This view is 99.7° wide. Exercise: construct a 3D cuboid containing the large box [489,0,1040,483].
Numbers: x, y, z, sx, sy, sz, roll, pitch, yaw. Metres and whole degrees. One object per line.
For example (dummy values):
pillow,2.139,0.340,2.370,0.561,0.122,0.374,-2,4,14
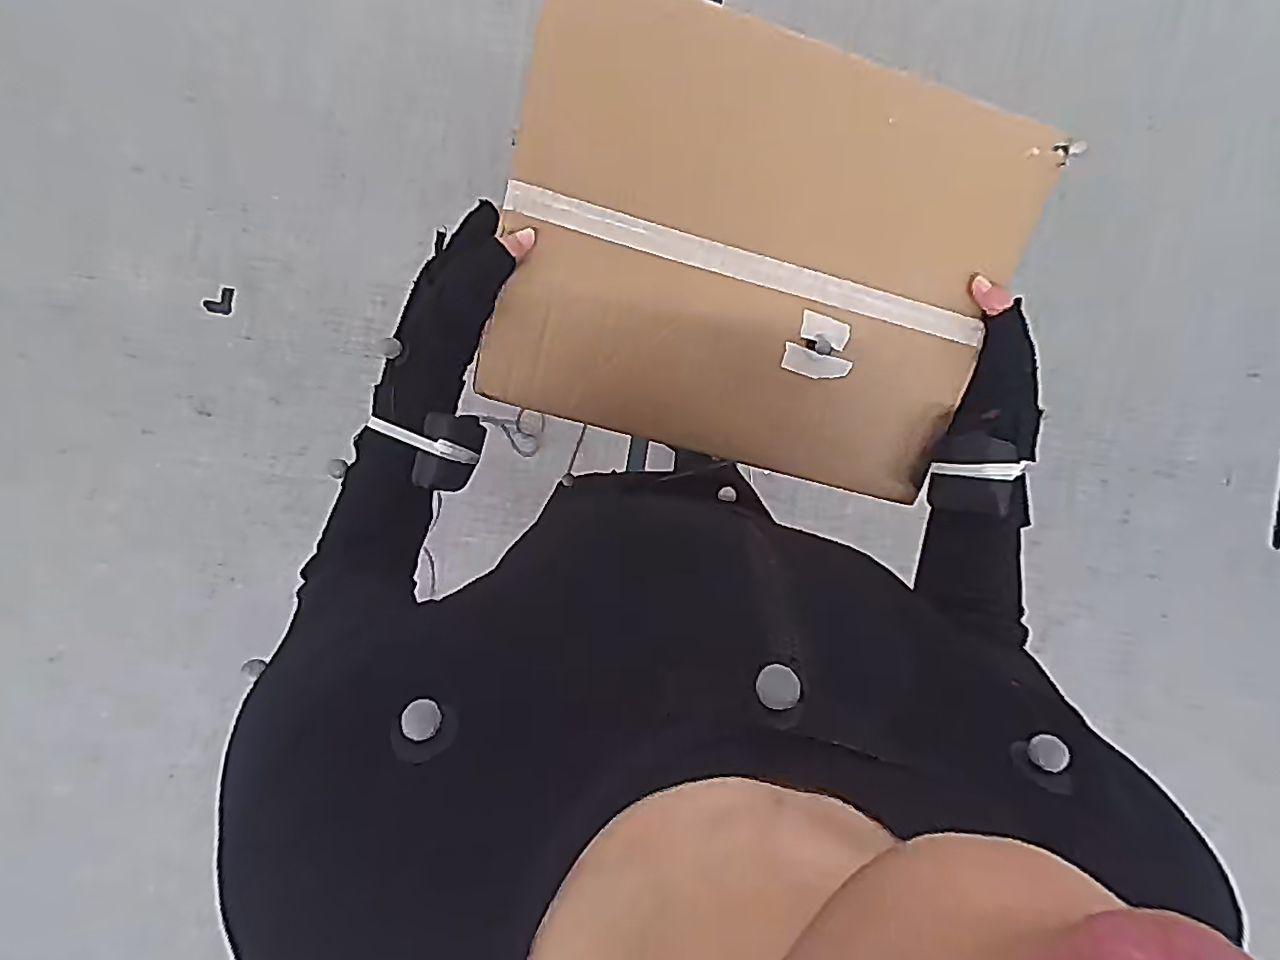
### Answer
large box,0.085,-0.224,0.592,0.408,0.320,0.320,14,107,-8
